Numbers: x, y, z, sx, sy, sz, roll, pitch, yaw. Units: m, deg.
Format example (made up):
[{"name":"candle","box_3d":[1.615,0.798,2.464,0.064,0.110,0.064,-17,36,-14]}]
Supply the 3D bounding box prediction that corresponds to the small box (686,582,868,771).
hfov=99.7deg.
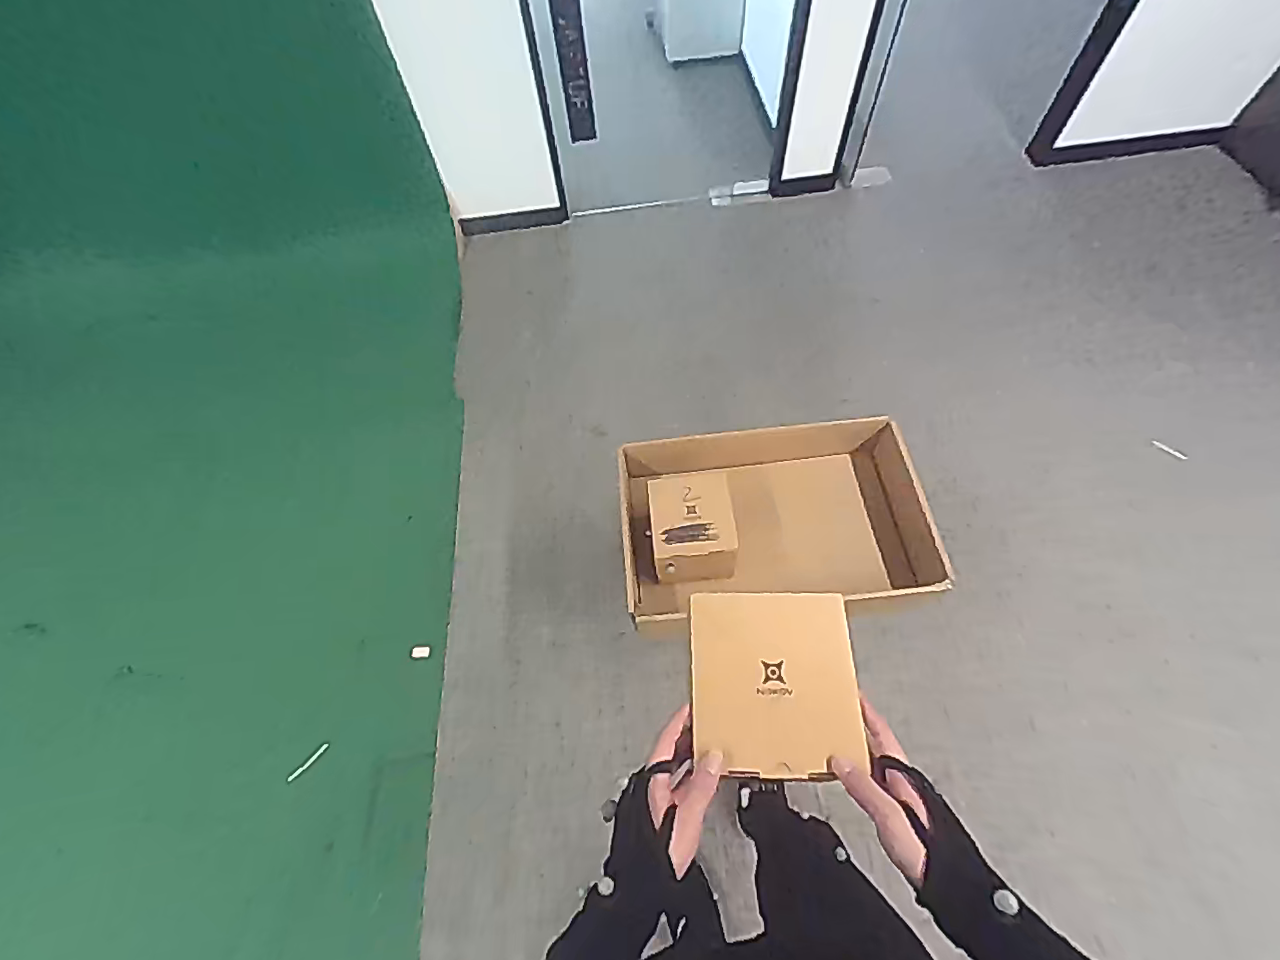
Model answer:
[{"name":"small box","box_3d":[0.138,0.228,0.617,0.168,0.176,0.179,0,61,3]}]
